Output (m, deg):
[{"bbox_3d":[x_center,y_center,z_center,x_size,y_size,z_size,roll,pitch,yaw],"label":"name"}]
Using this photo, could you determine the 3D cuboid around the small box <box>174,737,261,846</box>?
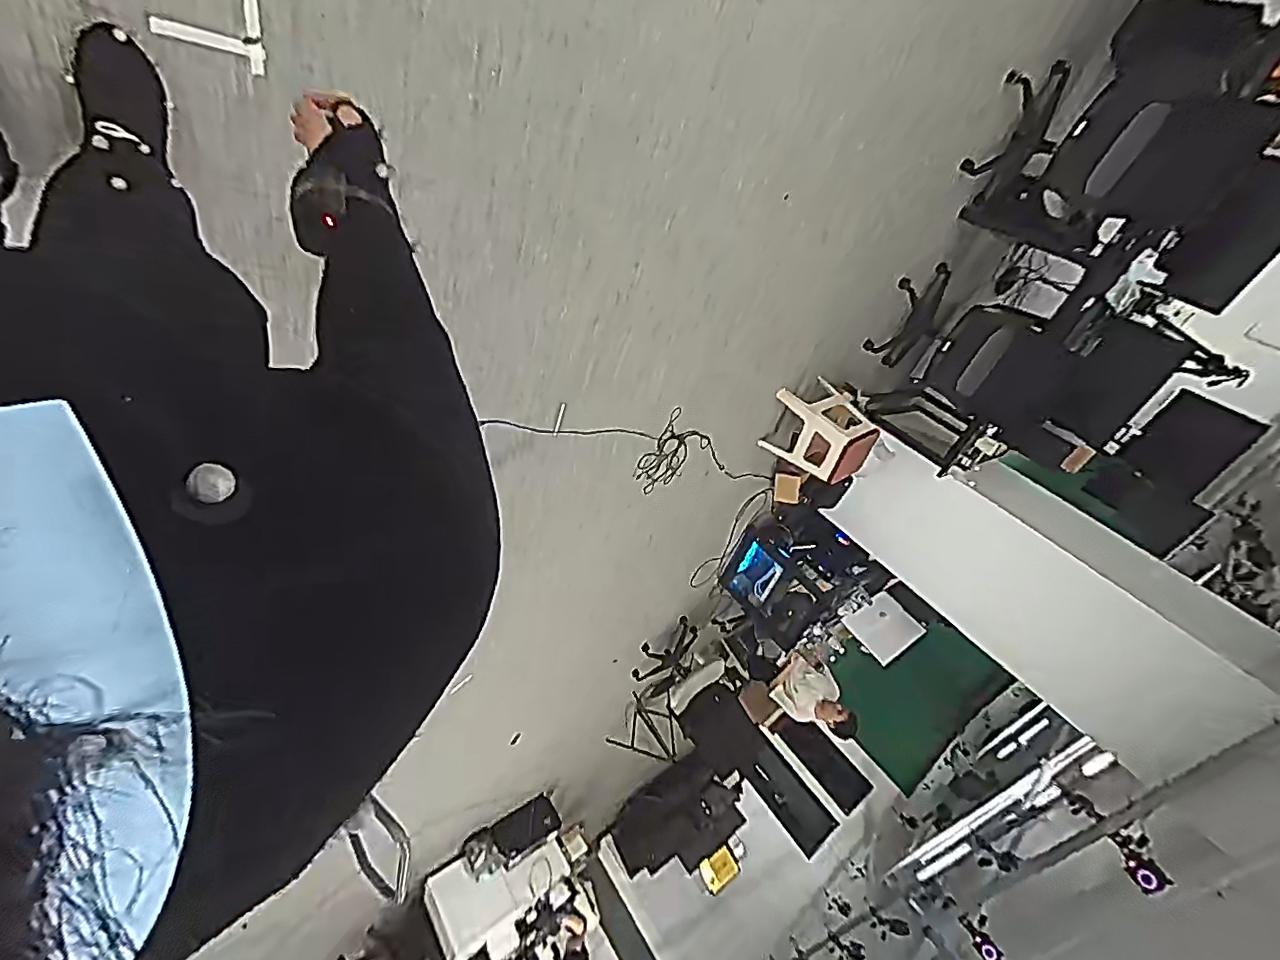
[{"bbox_3d":[-1.165,0.853,1.493,0.168,0.176,0.179,-11,134,-41],"label":"small box"}]
